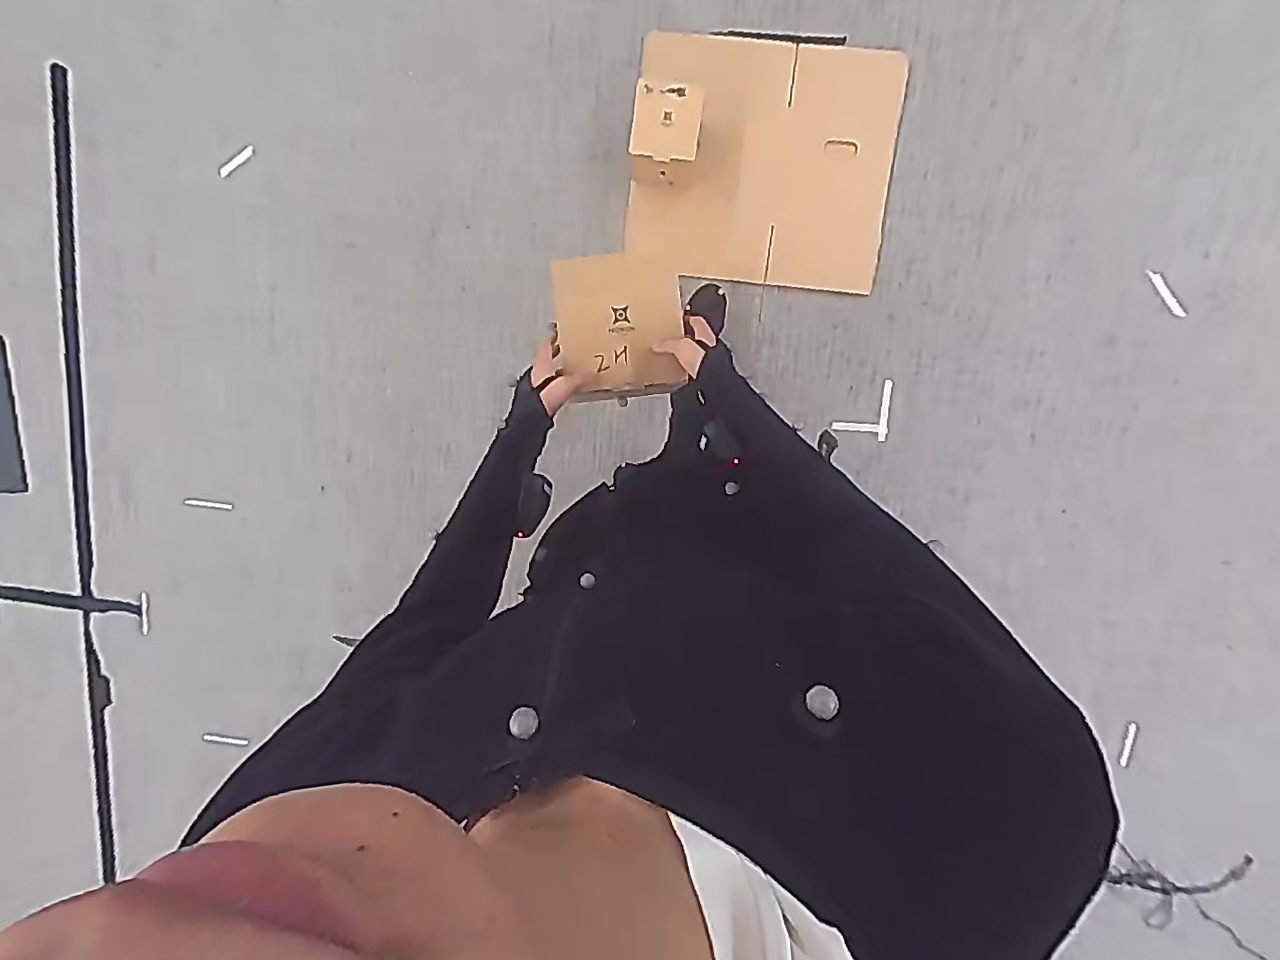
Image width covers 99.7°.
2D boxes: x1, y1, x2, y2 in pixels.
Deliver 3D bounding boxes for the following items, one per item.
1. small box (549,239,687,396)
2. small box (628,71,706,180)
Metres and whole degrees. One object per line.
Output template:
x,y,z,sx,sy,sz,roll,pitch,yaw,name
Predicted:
-0.035,-0.219,0.767,0.168,0.176,0.179,-7,95,-5,small box
0.069,-0.884,1.365,0.168,0.176,0.179,9,100,2,small box
